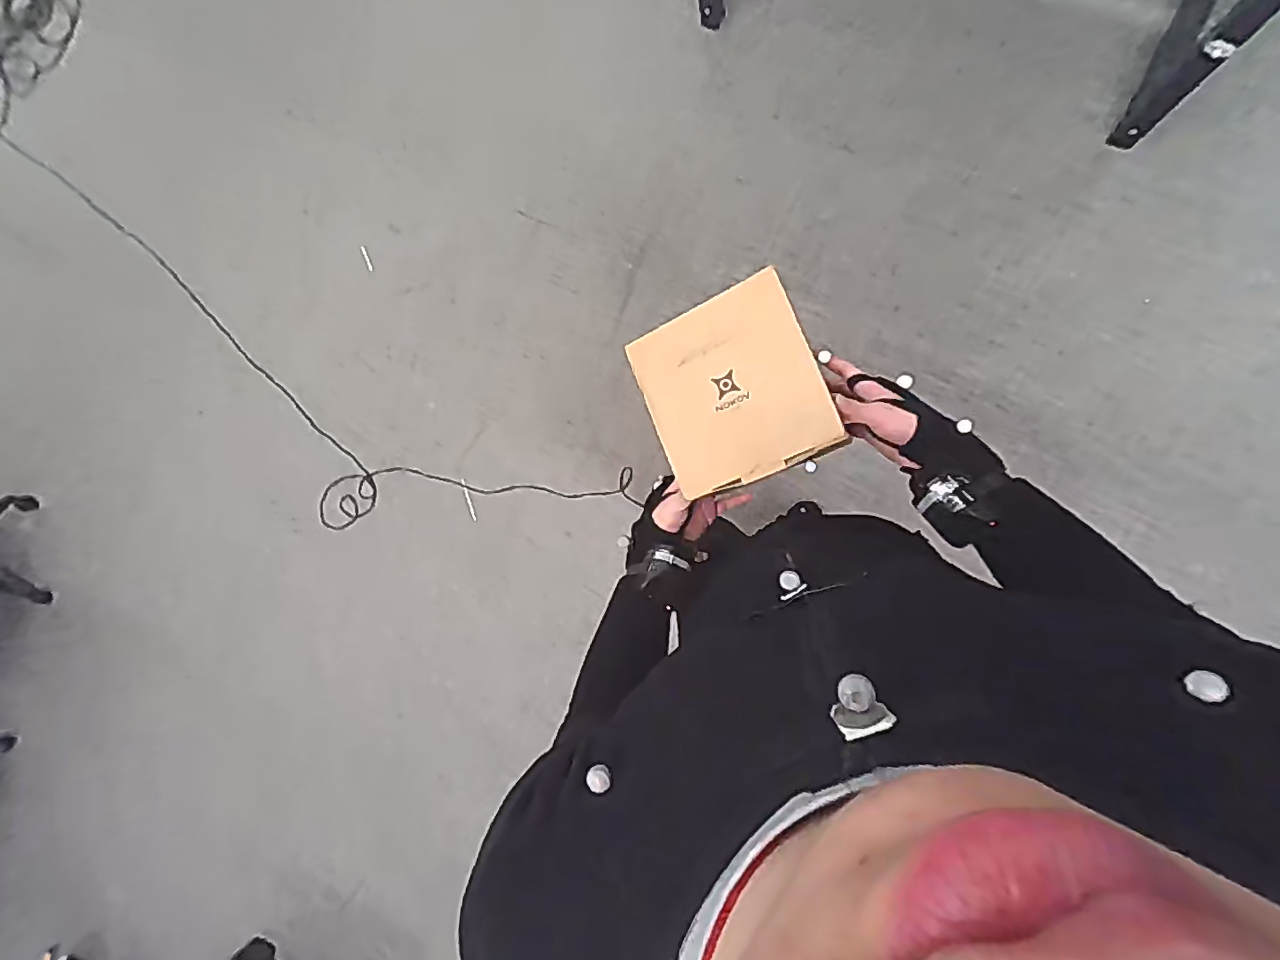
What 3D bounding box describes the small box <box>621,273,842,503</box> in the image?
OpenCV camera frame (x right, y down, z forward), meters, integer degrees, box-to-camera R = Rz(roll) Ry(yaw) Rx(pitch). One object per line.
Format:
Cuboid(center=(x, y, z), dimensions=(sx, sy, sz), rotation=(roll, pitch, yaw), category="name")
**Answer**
Cuboid(center=(0.110, -0.087, 0.593), dimensions=(0.168, 0.176, 0.179), rotation=(-23, 82, 22), category="small box")
